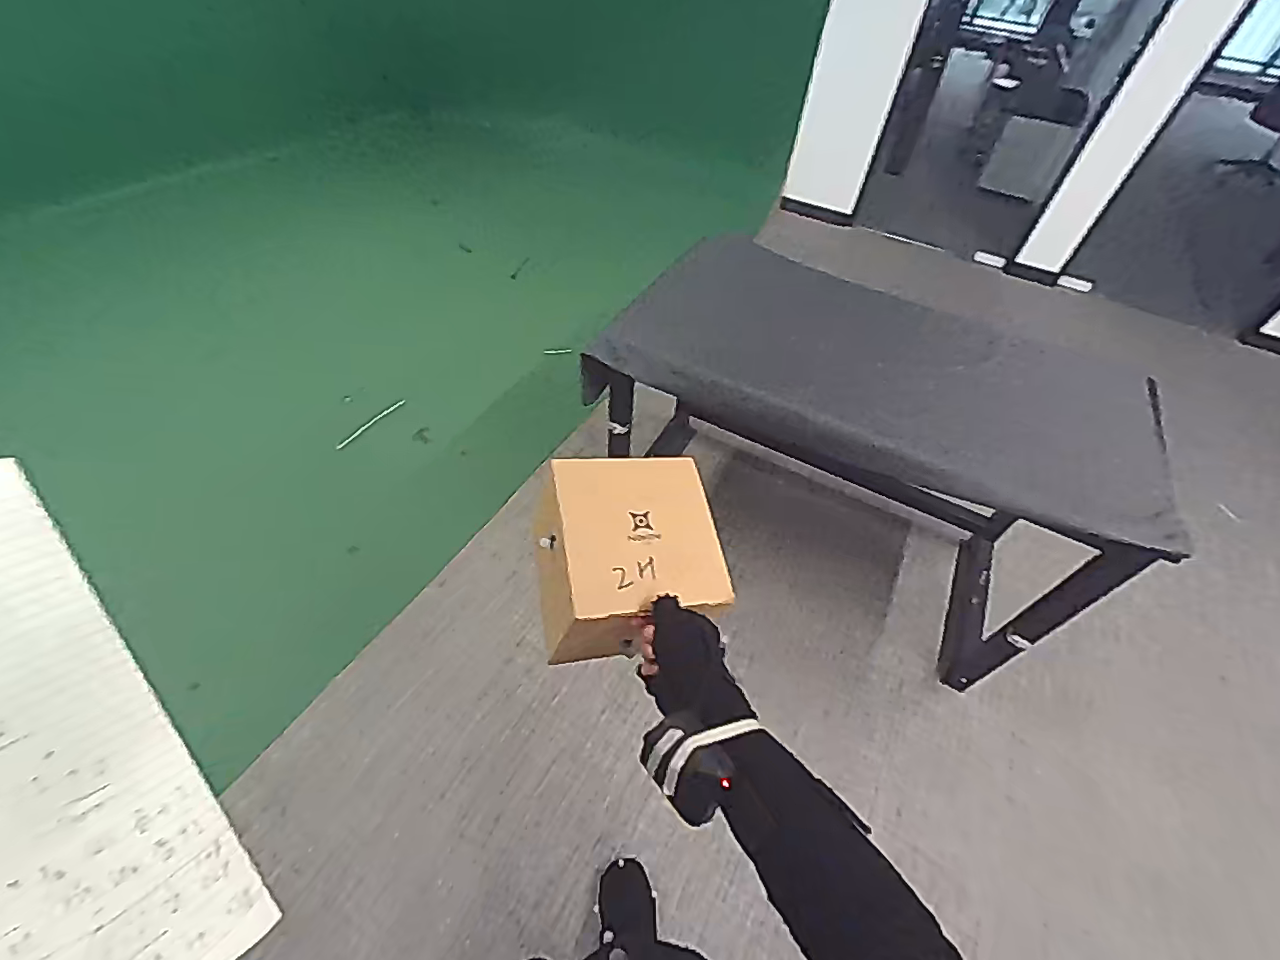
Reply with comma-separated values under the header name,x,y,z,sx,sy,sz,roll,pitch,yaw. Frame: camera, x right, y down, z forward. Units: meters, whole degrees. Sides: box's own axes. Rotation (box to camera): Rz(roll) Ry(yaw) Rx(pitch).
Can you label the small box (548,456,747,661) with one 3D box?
name,x,y,z,sx,sy,sz,roll,pitch,yaw
small box,-0.007,0.090,0.619,0.168,0.176,0.179,-1,59,-20
